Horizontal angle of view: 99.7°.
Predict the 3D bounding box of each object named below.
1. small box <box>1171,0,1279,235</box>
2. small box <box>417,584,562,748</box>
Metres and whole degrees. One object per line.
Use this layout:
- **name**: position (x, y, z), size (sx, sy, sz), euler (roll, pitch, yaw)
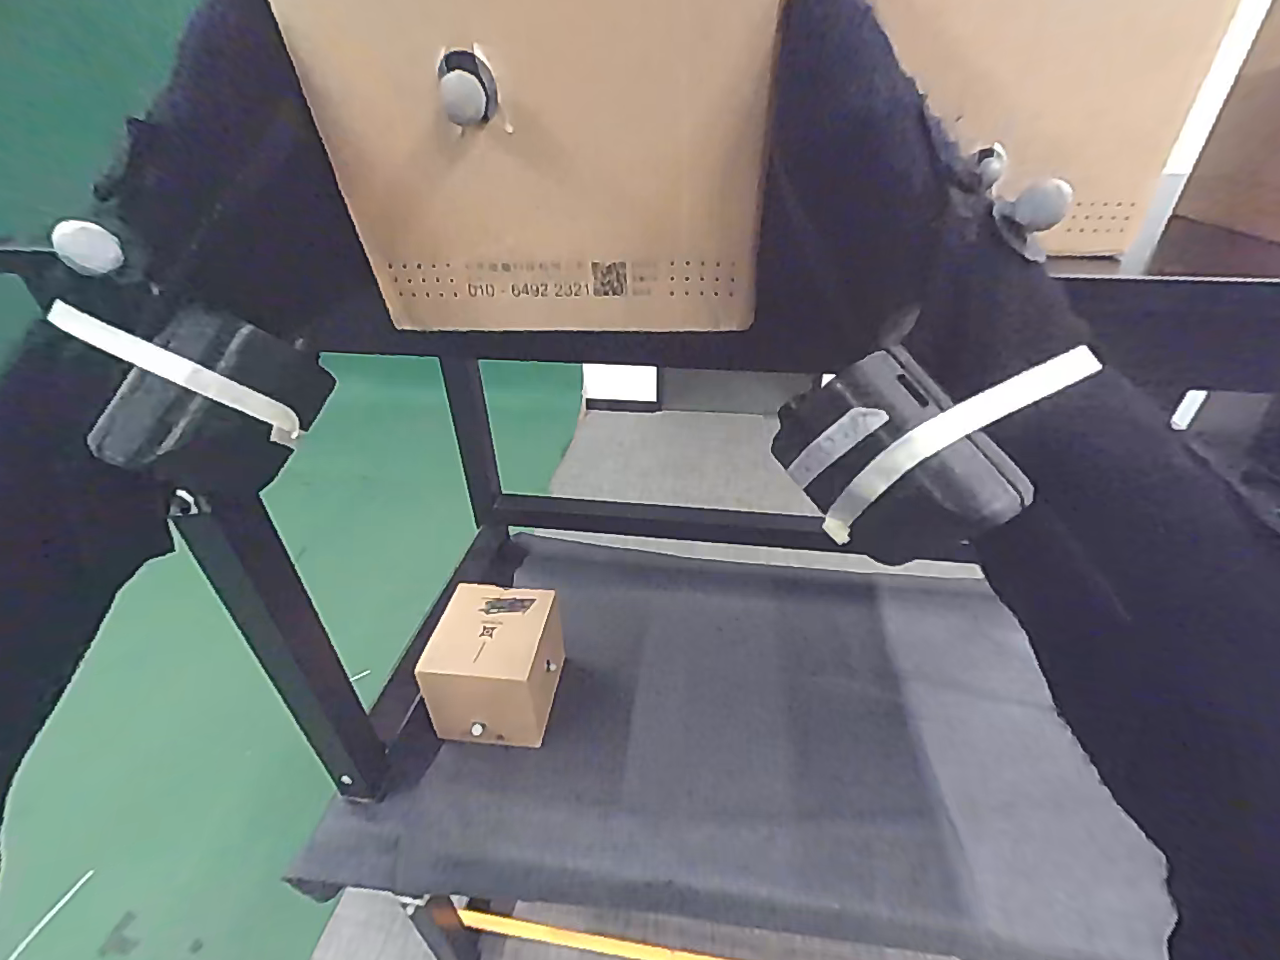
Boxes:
- **small box**: position (0.469, -0.230, 0.302), size (0.168, 0.176, 0.179), euler (9, 34, 15)
- **small box**: position (-0.224, 0.291, 0.860), size (0.168, 0.176, 0.179), euler (3, 33, 5)
